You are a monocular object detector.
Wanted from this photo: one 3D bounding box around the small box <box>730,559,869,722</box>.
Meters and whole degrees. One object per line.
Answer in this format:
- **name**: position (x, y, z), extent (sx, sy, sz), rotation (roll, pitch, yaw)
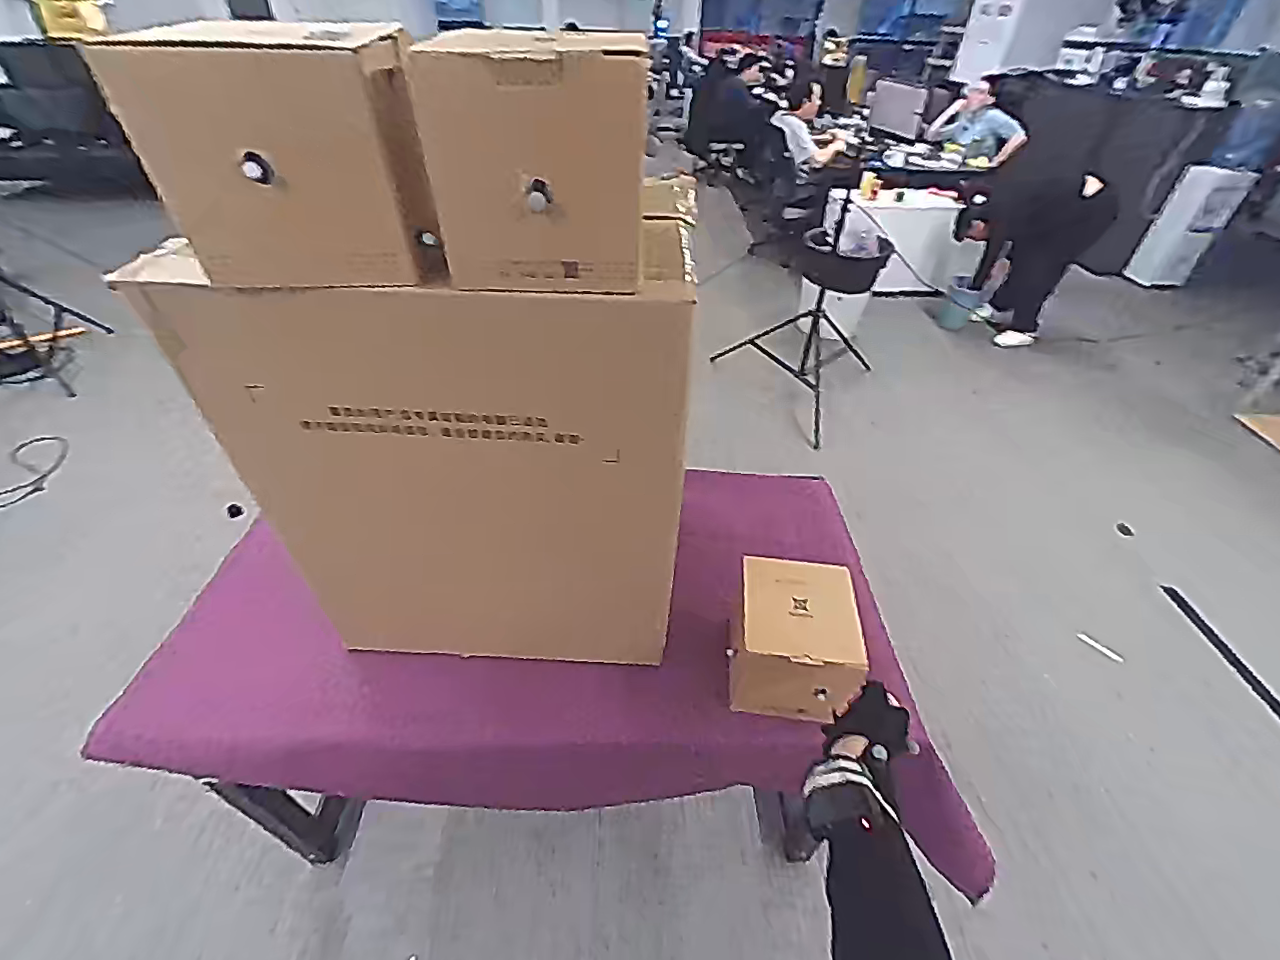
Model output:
- **small box**: position (0.235, 0.249, 0.838), extent (0.168, 0.176, 0.179), rotation (6, 40, 4)
